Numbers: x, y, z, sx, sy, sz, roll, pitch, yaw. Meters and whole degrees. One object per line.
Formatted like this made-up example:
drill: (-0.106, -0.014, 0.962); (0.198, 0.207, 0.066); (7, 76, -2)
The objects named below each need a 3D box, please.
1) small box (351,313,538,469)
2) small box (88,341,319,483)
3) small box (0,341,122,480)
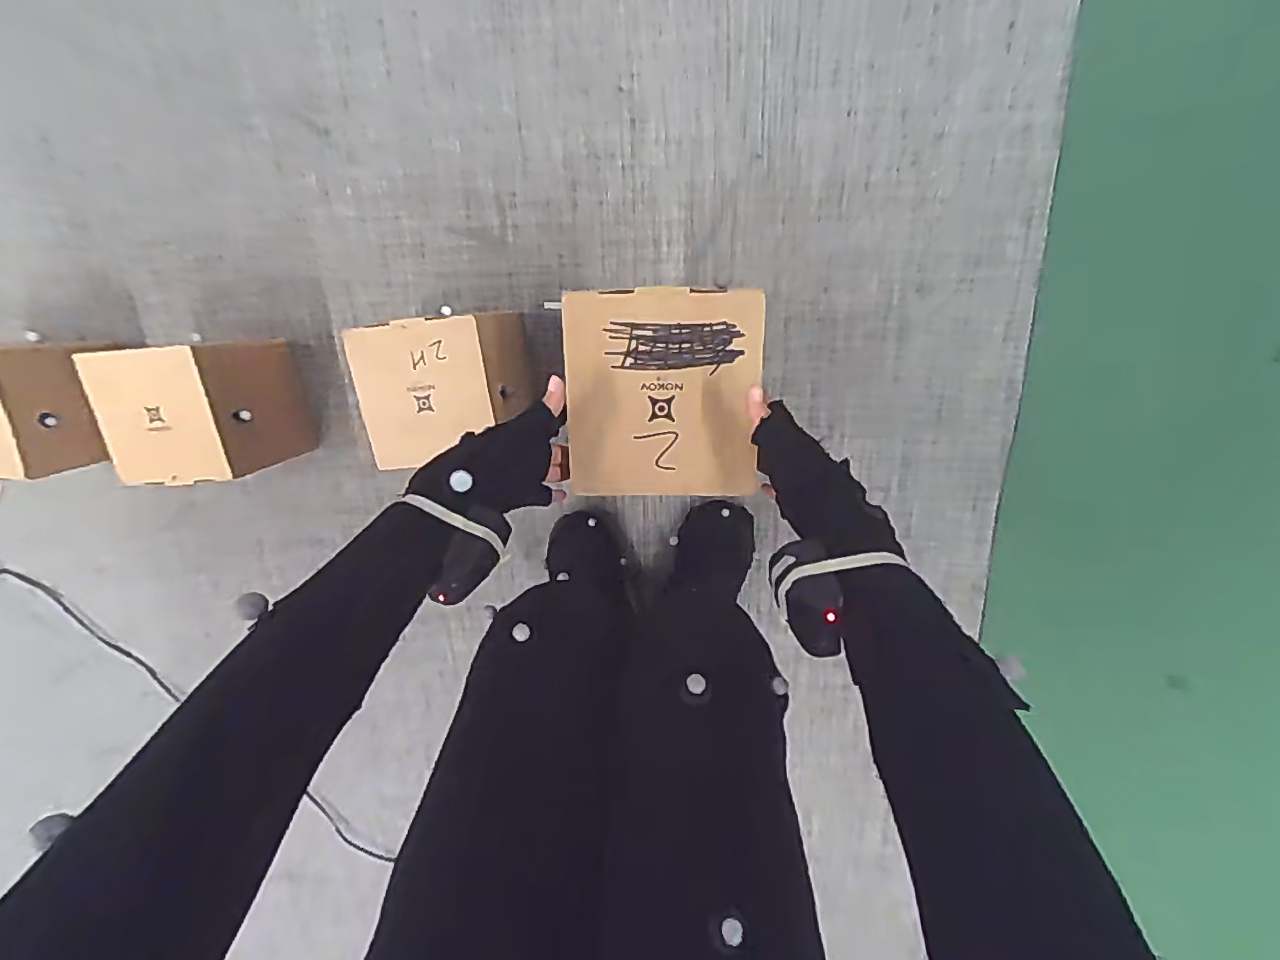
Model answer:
small box: (-0.247, -0.126, 0.732); (0.168, 0.176, 0.179); (-5, 108, 6)
small box: (-0.604, -0.105, 0.774); (0.168, 0.176, 0.179); (-3, 108, 7)
small box: (-0.893, -0.110, 0.800); (0.168, 0.176, 0.179); (2, 107, 5)
